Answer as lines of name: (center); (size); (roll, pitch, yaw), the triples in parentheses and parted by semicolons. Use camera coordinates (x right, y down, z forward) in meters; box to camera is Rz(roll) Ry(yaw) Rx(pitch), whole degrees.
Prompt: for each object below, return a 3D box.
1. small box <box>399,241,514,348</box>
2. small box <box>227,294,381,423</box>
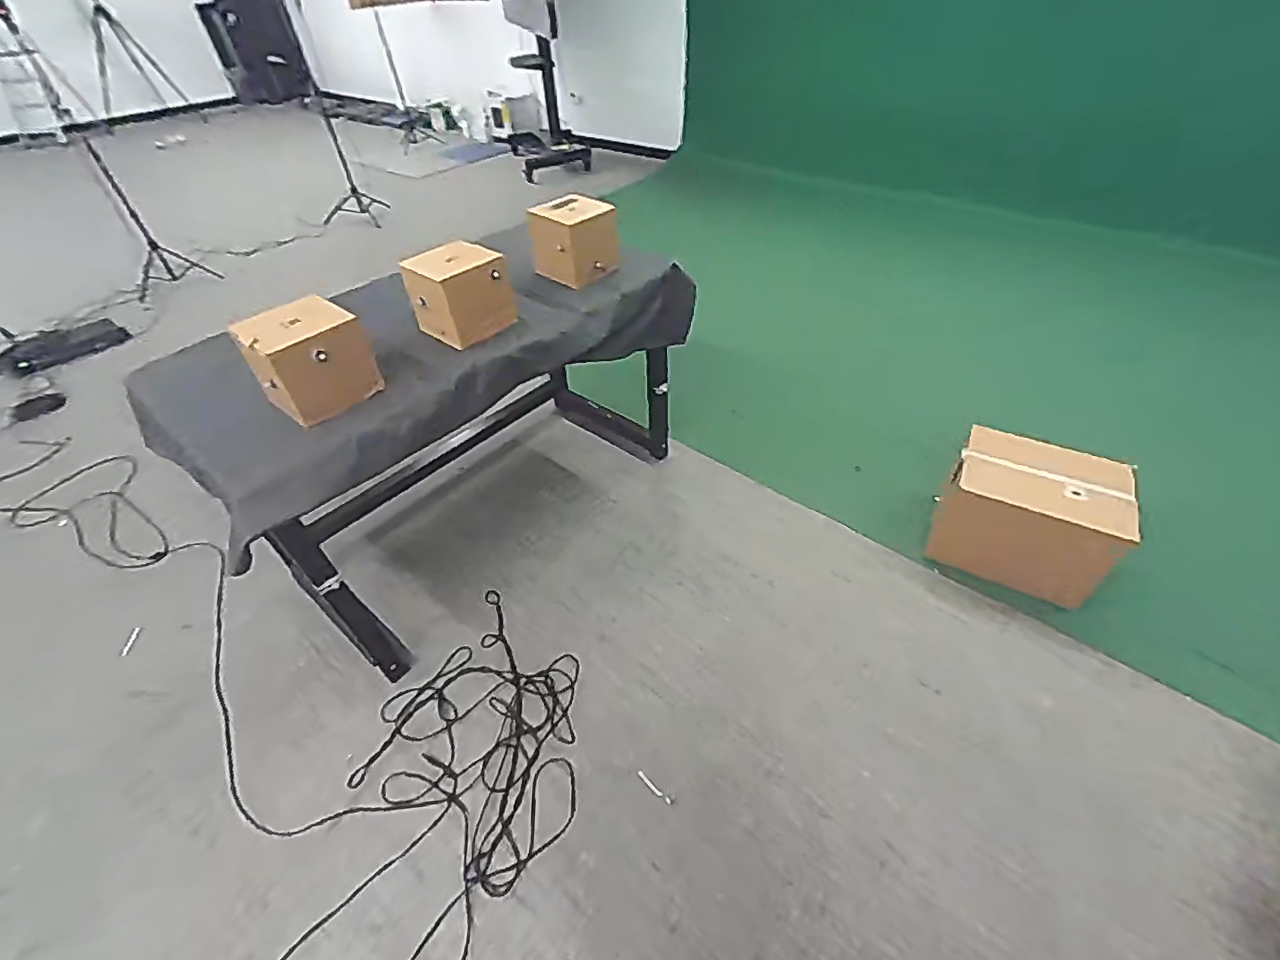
small box: (-0.418, -0.431, 1.259); (0.168, 0.176, 0.179); (30, 52, 29)
small box: (-0.651, -0.239, 1.067); (0.168, 0.176, 0.179); (29, 51, 28)
